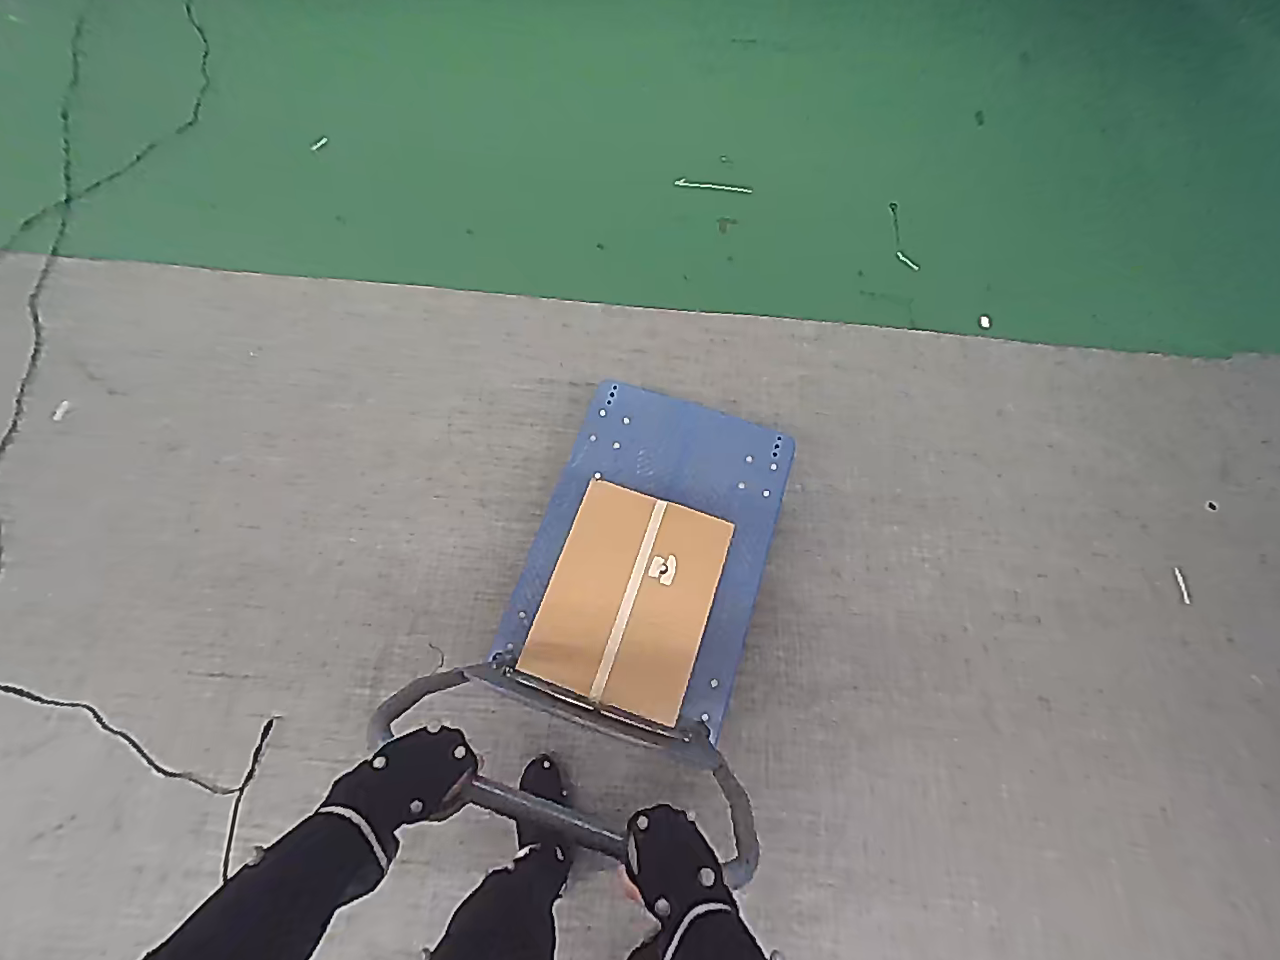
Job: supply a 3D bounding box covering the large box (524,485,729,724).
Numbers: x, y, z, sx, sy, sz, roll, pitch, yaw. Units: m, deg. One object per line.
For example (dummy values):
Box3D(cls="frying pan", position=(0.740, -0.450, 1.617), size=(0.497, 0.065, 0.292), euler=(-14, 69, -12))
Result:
Box3D(cls="large box", position=(-0.020, 0.284, 1.209), size=(0.320, 0.320, 0.408), euler=(18, 70, 5))
